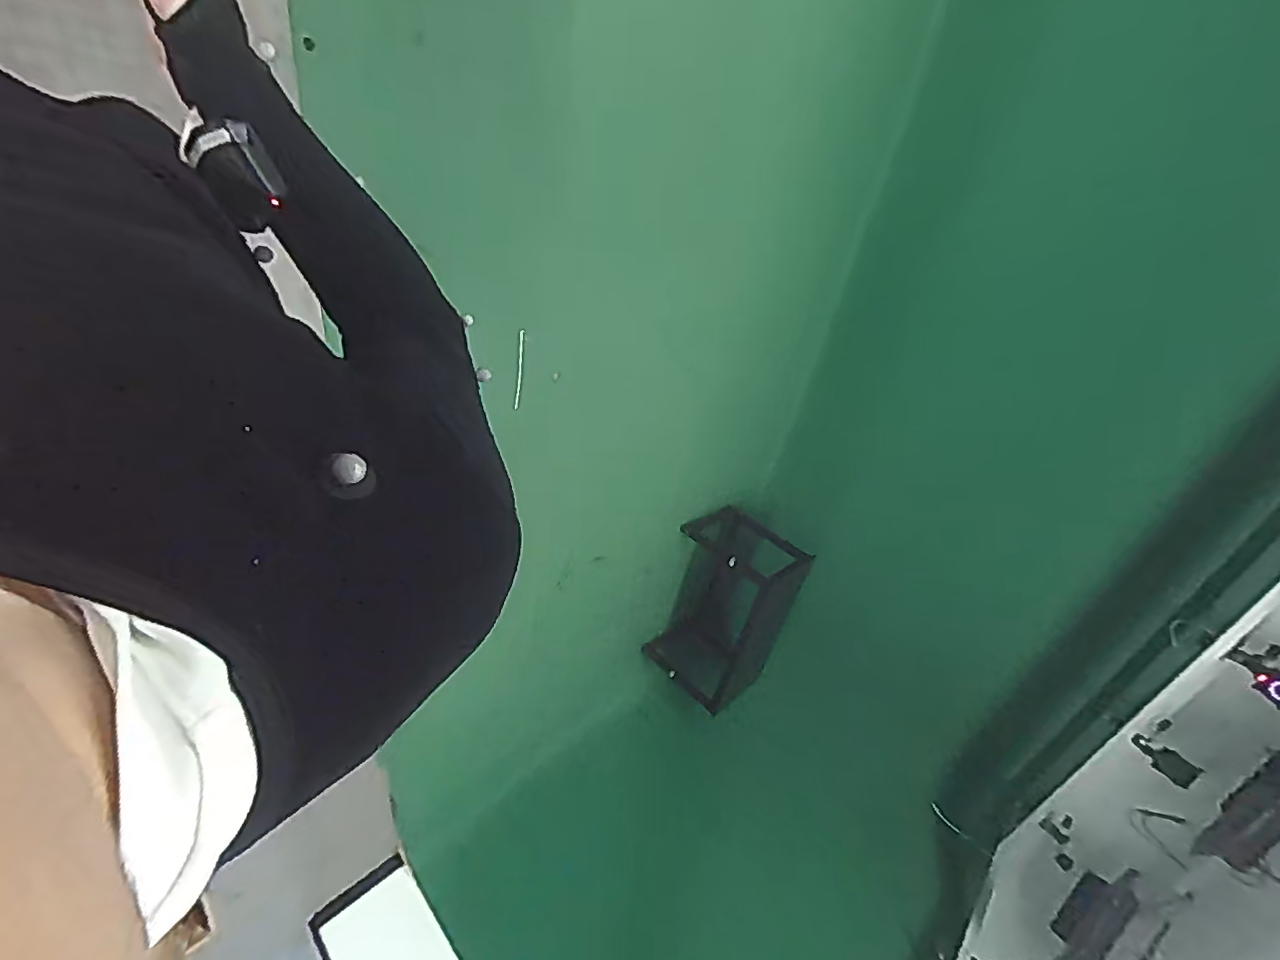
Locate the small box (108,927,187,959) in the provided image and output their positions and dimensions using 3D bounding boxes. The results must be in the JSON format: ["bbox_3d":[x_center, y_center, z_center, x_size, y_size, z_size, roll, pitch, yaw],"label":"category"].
[{"bbox_3d":[-1.216,1.248,1.313,0.168,0.176,0.179,-22,134,-40],"label":"small box"}]
